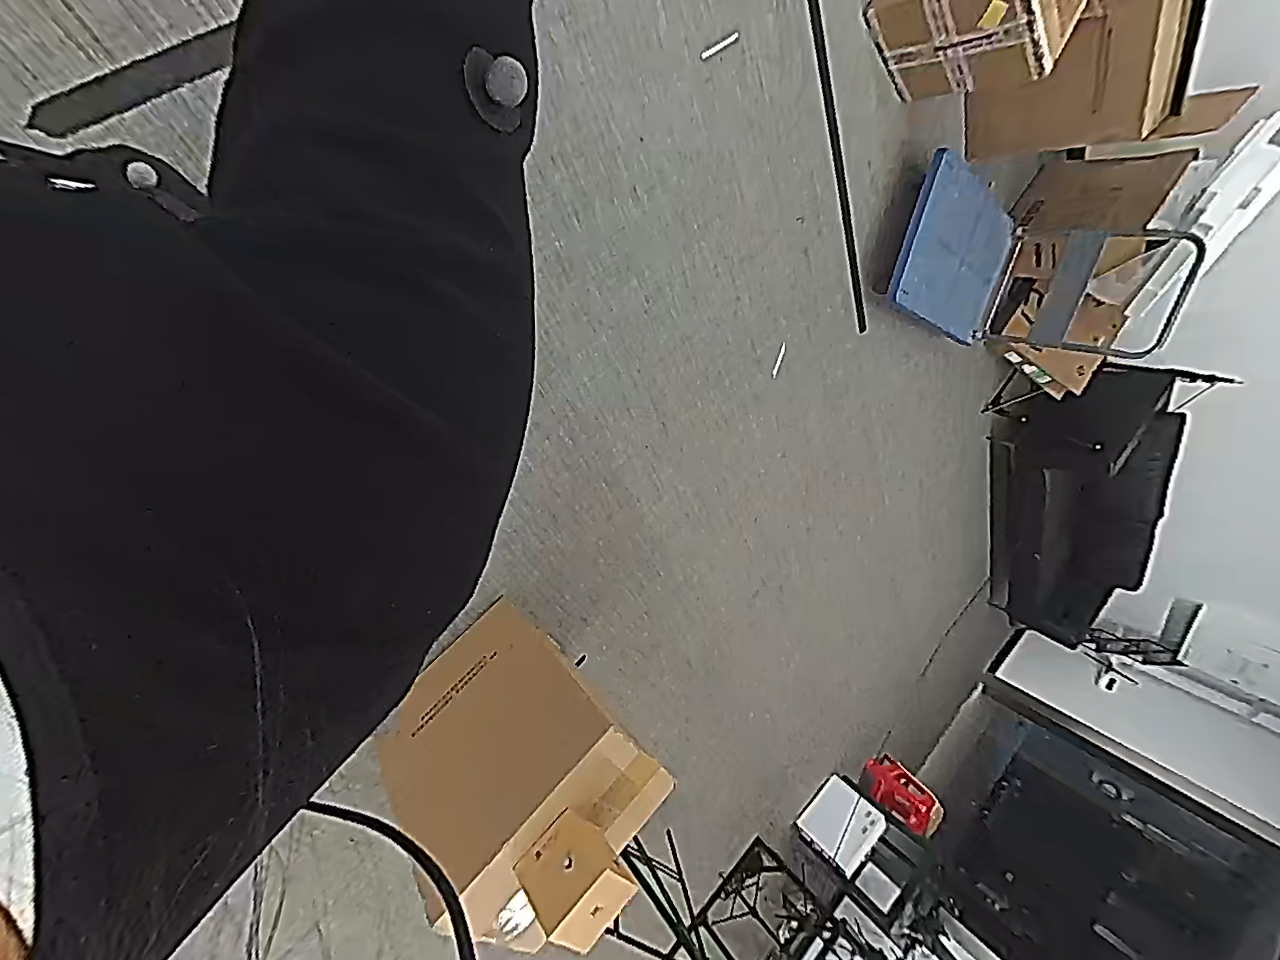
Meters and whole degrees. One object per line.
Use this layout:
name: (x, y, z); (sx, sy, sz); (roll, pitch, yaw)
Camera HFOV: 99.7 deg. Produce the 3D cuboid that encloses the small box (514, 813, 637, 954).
small box: (-0.143, 0.870, 1.179); (0.168, 0.176, 0.179); (-43, 131, -18)
